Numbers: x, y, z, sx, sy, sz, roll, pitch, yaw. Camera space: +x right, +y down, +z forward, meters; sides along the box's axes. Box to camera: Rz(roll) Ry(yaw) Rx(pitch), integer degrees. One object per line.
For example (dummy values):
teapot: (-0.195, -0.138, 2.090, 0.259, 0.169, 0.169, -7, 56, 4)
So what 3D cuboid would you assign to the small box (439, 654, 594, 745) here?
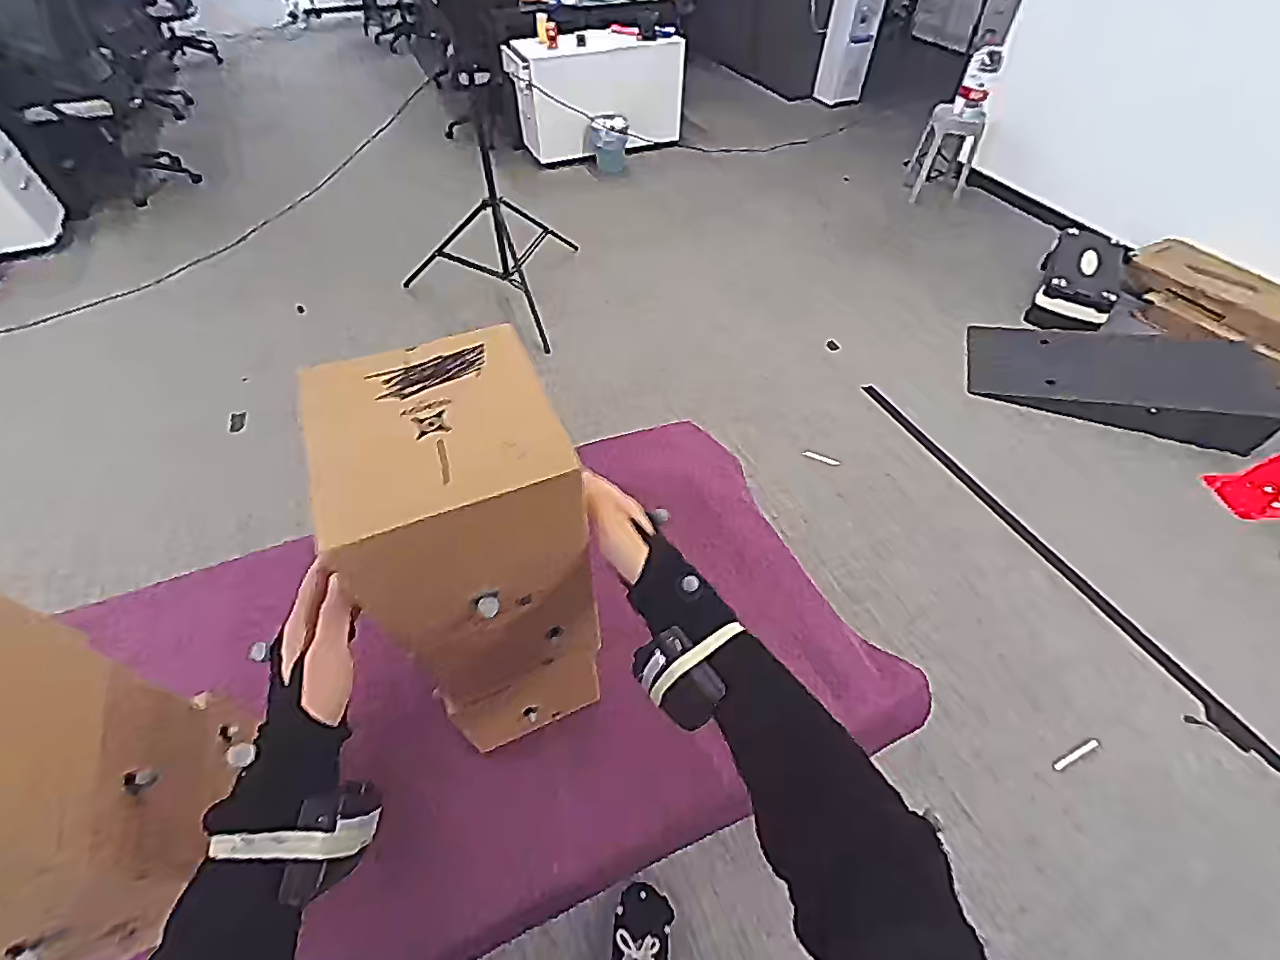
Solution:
small box: (-0.165, 0.219, 0.701, 0.168, 0.176, 0.179, -19, 54, -16)

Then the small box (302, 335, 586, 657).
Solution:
small box: (-0.151, 0.014, 0.447, 0.168, 0.176, 0.179, -19, 55, -16)

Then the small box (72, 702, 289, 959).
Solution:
small box: (-0.501, 0.373, 0.574, 0.168, 0.176, 0.179, -20, 54, -16)

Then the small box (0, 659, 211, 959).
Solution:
small box: (-0.486, 0.284, 0.436, 0.168, 0.176, 0.179, -24, 55, -19)

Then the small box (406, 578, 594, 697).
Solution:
small box: (-0.154, 0.110, 0.580, 0.168, 0.176, 0.179, -18, 53, -16)
